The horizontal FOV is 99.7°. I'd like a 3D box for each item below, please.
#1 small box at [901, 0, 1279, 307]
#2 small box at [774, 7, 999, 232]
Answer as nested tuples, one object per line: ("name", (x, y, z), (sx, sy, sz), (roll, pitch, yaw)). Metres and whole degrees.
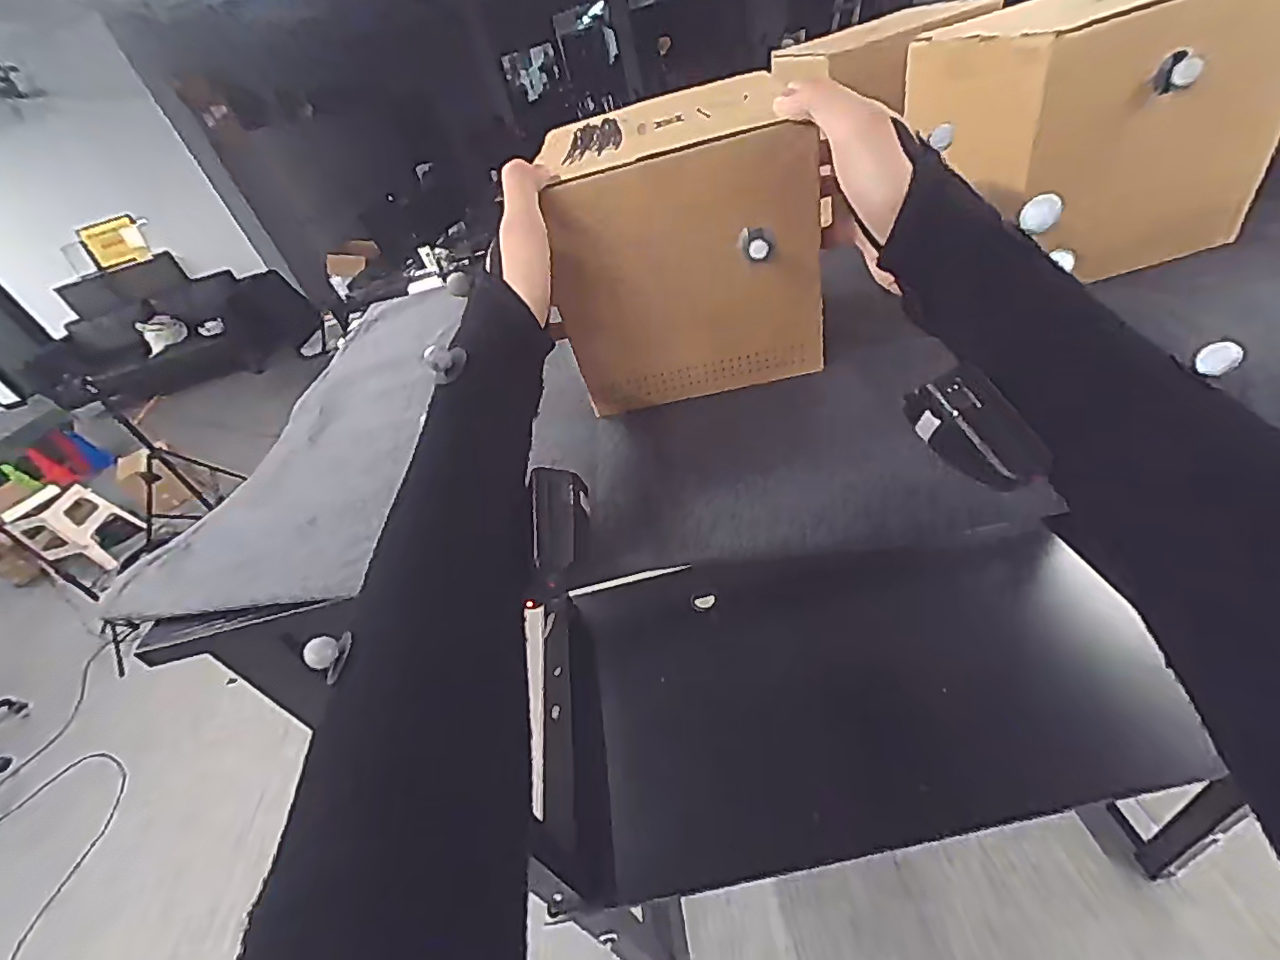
("small box", (0.327, -0.259, 0.418), (0.179, 0.176, 0.168), (-16, 38, 3))
("small box", (0.260, -0.403, 0.615), (0.168, 0.176, 0.179), (-15, 39, 3))
